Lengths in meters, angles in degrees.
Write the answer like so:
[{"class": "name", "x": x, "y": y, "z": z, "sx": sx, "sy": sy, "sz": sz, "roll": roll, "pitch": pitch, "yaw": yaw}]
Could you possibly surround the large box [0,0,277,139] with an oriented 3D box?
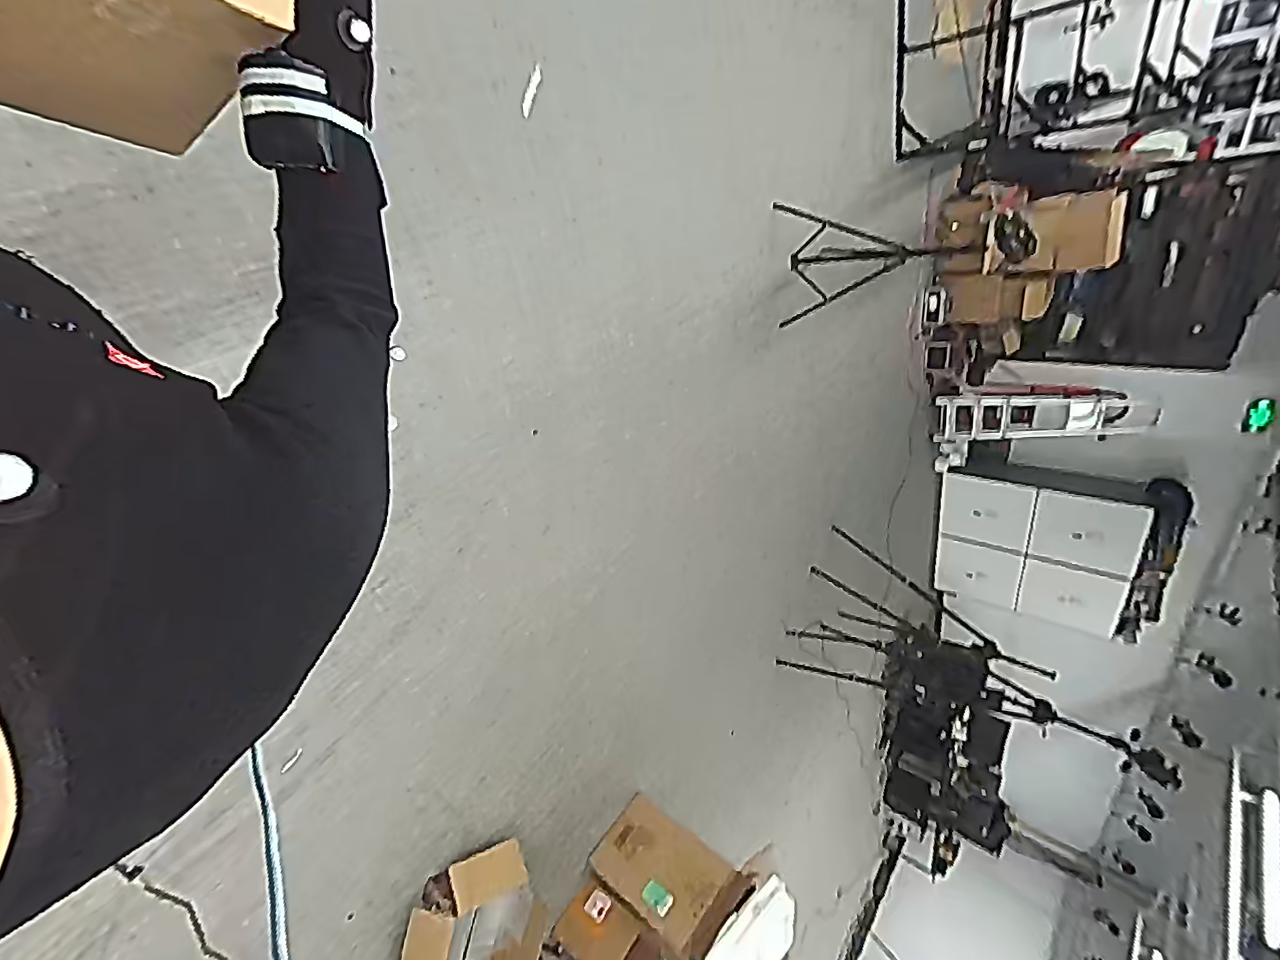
[{"class": "large box", "x": -0.479, "y": -0.450, "z": 0.277, "sx": 0.408, "sy": 0.320, "sz": 0.320, "roll": -9, "pitch": 103, "yaw": -50}]
